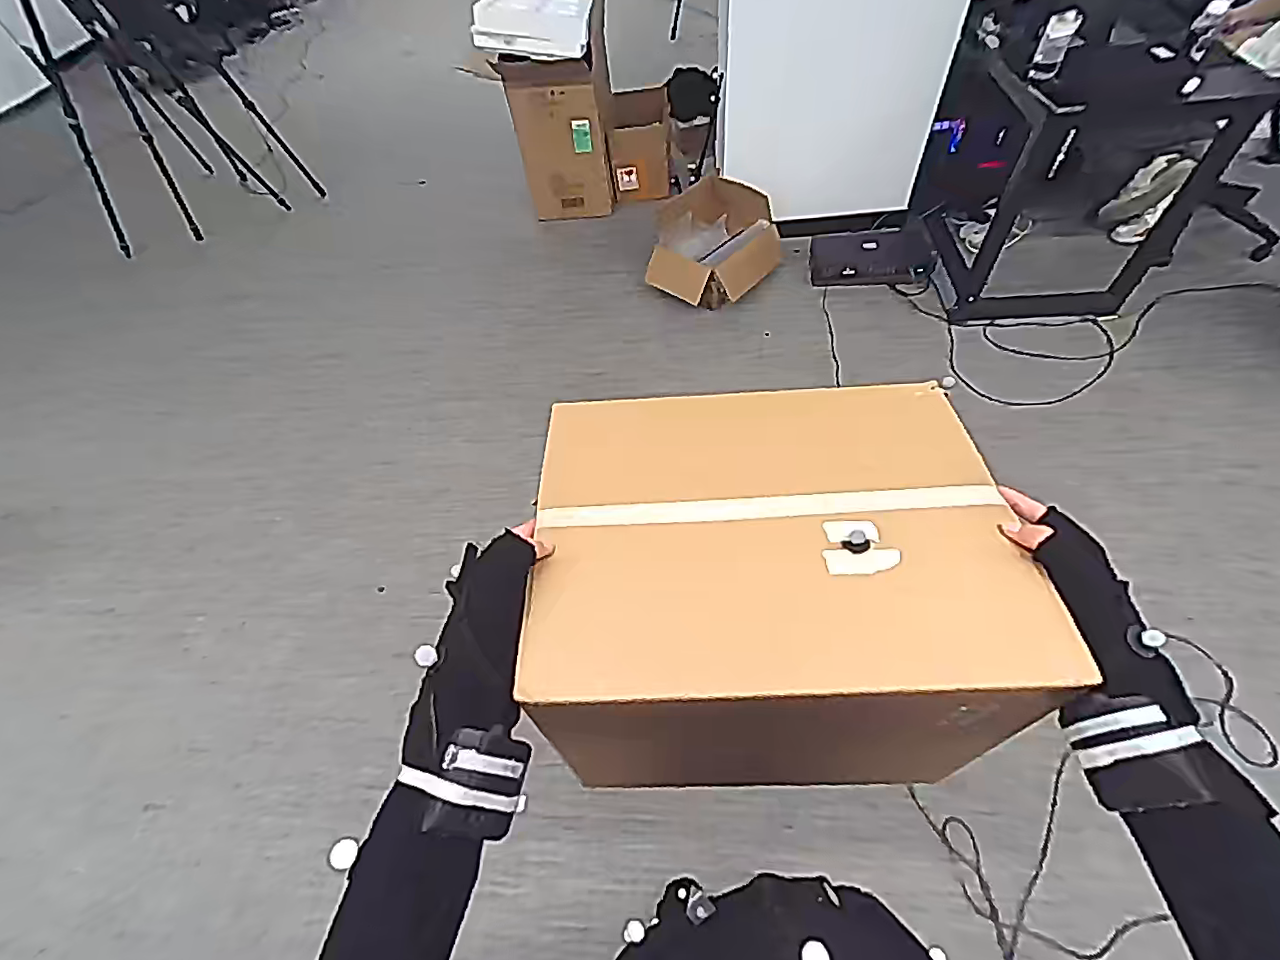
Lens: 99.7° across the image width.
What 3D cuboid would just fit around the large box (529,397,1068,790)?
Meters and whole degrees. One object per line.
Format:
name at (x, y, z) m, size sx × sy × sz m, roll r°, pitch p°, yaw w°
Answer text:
large box at (0.119, 0.135, 0.603) m, size 0.408 × 0.320 × 0.320 m, roll -3°, pitch 50°, yaw 3°
